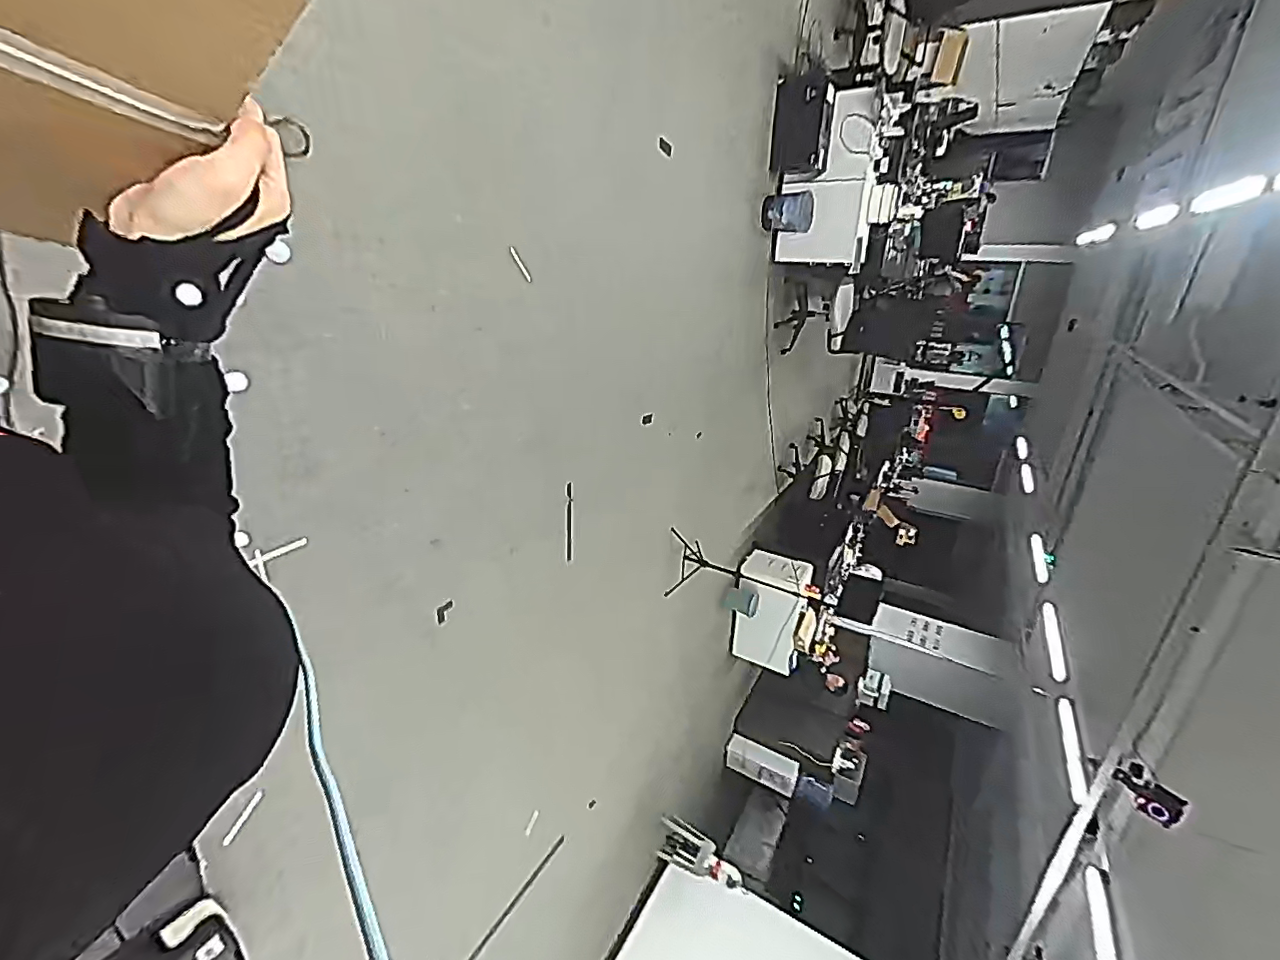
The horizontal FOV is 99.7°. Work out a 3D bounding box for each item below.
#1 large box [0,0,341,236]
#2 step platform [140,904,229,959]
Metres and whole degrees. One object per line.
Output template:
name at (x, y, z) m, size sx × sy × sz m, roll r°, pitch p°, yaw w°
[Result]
large box at (-0.354, -0.343, 0.151) m, size 0.408 × 0.320 × 0.320 m, roll -6°, pitch 81°, yaw -57°
step platform at (-1.239, 1.272, 1.094) m, size 0.684 × 0.204 × 0.286 m, roll -21°, pitch 120°, yaw -56°
